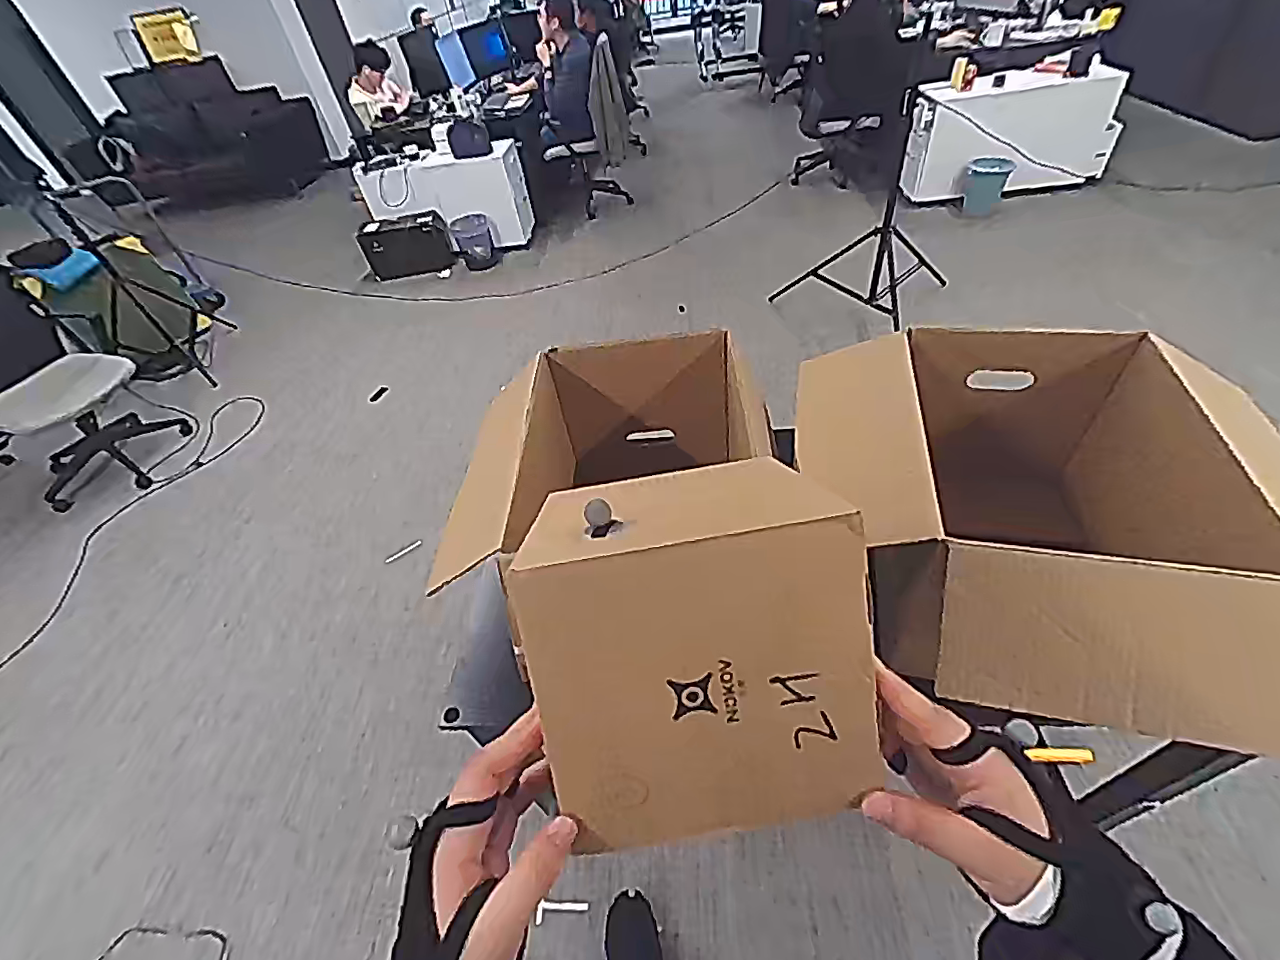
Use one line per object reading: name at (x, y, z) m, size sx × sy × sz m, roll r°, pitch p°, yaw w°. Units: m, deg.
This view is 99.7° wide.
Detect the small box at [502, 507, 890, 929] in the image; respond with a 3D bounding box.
small box at (0.030, 0.125, 0.342) m, size 0.179 × 0.168 × 0.176 m, roll -9°, pitch 12°, yaw 0°
